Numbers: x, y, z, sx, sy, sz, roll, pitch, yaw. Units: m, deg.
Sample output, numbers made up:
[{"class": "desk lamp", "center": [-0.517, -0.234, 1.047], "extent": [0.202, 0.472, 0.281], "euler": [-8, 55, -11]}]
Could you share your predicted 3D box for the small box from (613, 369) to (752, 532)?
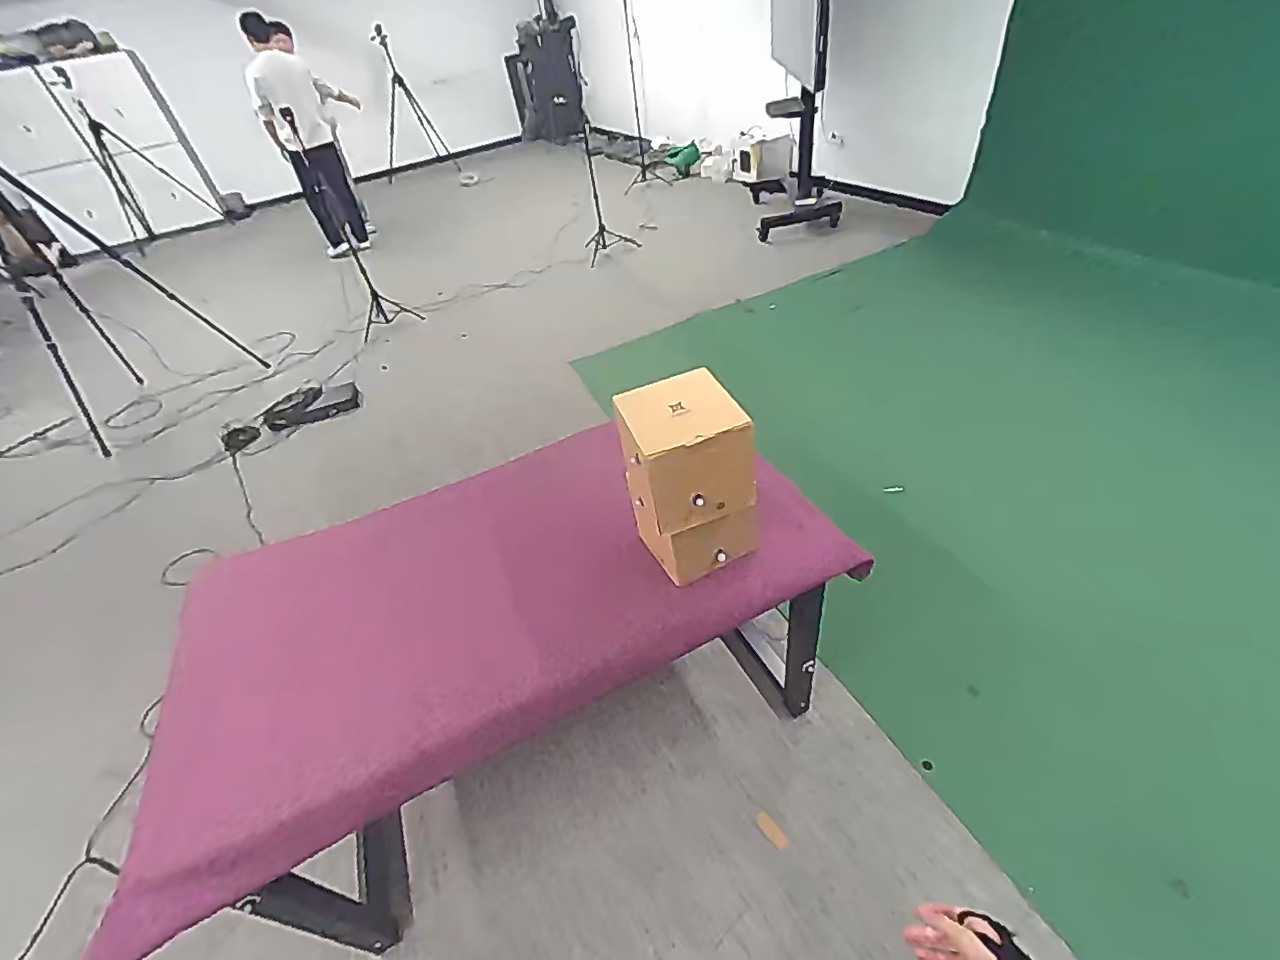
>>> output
[{"class": "small box", "center": [0.068, -0.049, 0.868], "extent": [0.168, 0.176, 0.179], "euler": [-19, 42, -7]}]

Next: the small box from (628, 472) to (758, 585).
[{"class": "small box", "center": [0.099, 0.057, 0.991], "extent": [0.179, 0.176, 0.168], "euler": [-24, 41, -14]}]
